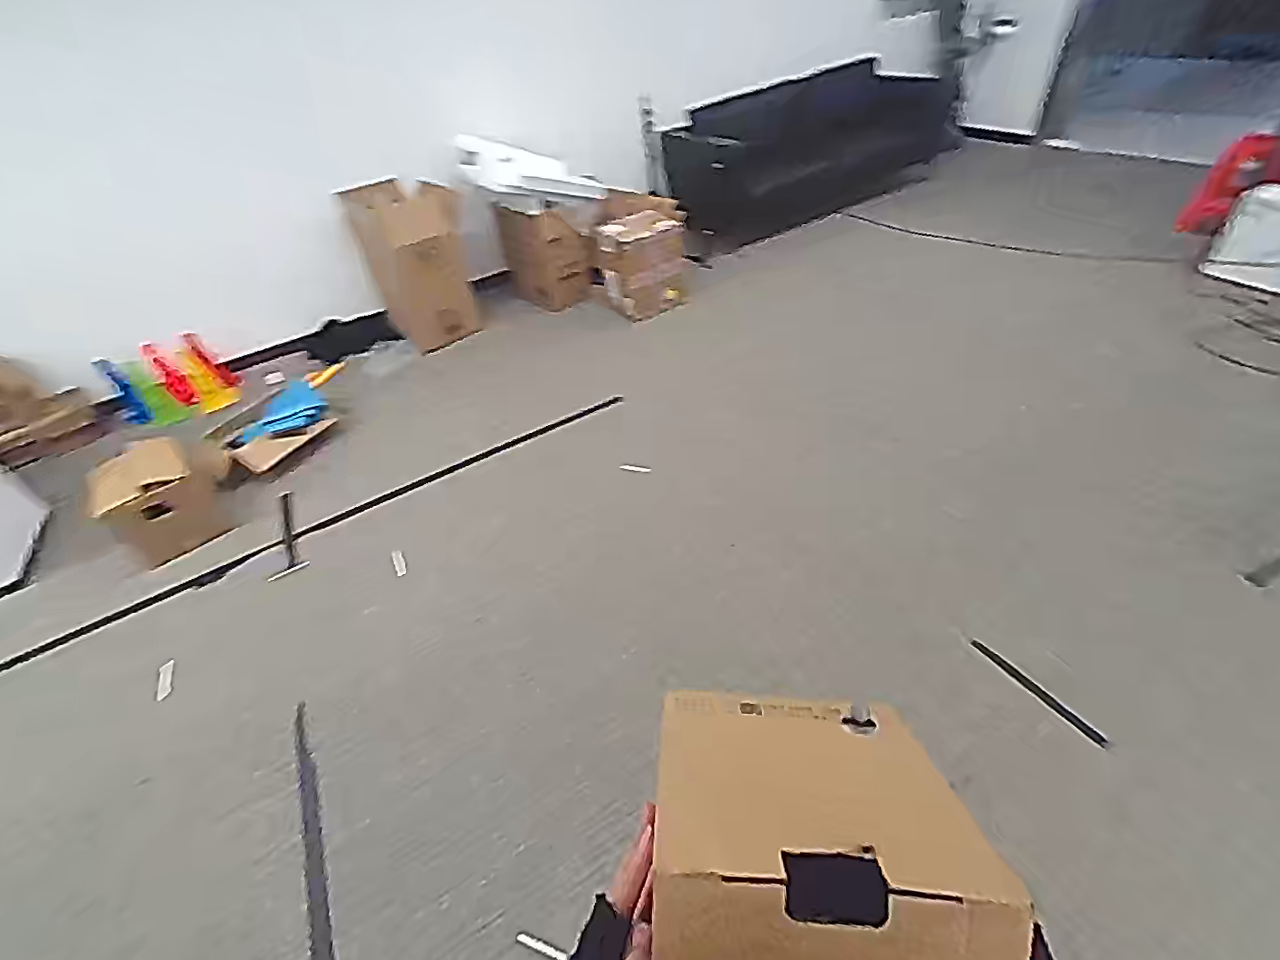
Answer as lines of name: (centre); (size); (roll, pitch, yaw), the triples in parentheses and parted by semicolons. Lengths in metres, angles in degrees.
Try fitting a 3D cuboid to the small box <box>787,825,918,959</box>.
small box: (0.419, 0.851, 1.095); (0.168, 0.176, 0.179); (-24, 44, -16)
